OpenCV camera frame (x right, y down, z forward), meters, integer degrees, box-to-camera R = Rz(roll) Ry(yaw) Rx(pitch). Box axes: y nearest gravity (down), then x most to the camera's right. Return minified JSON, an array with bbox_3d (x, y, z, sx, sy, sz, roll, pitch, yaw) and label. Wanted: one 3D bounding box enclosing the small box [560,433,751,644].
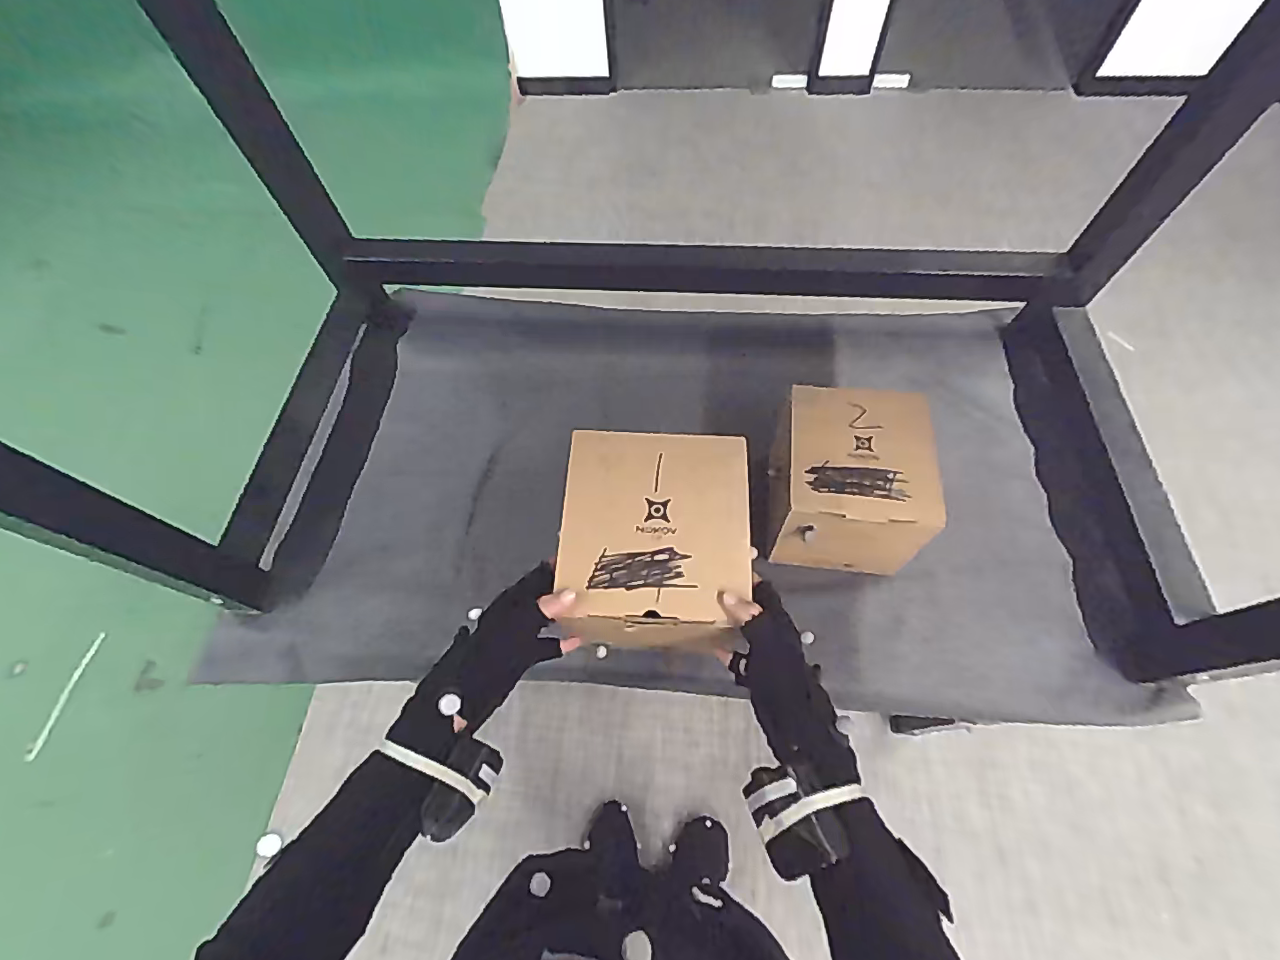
[{"bbox_3d":[0.021,0.069,0.561,0.168,0.176,0.179,2,64,2],"label":"small box"}]
